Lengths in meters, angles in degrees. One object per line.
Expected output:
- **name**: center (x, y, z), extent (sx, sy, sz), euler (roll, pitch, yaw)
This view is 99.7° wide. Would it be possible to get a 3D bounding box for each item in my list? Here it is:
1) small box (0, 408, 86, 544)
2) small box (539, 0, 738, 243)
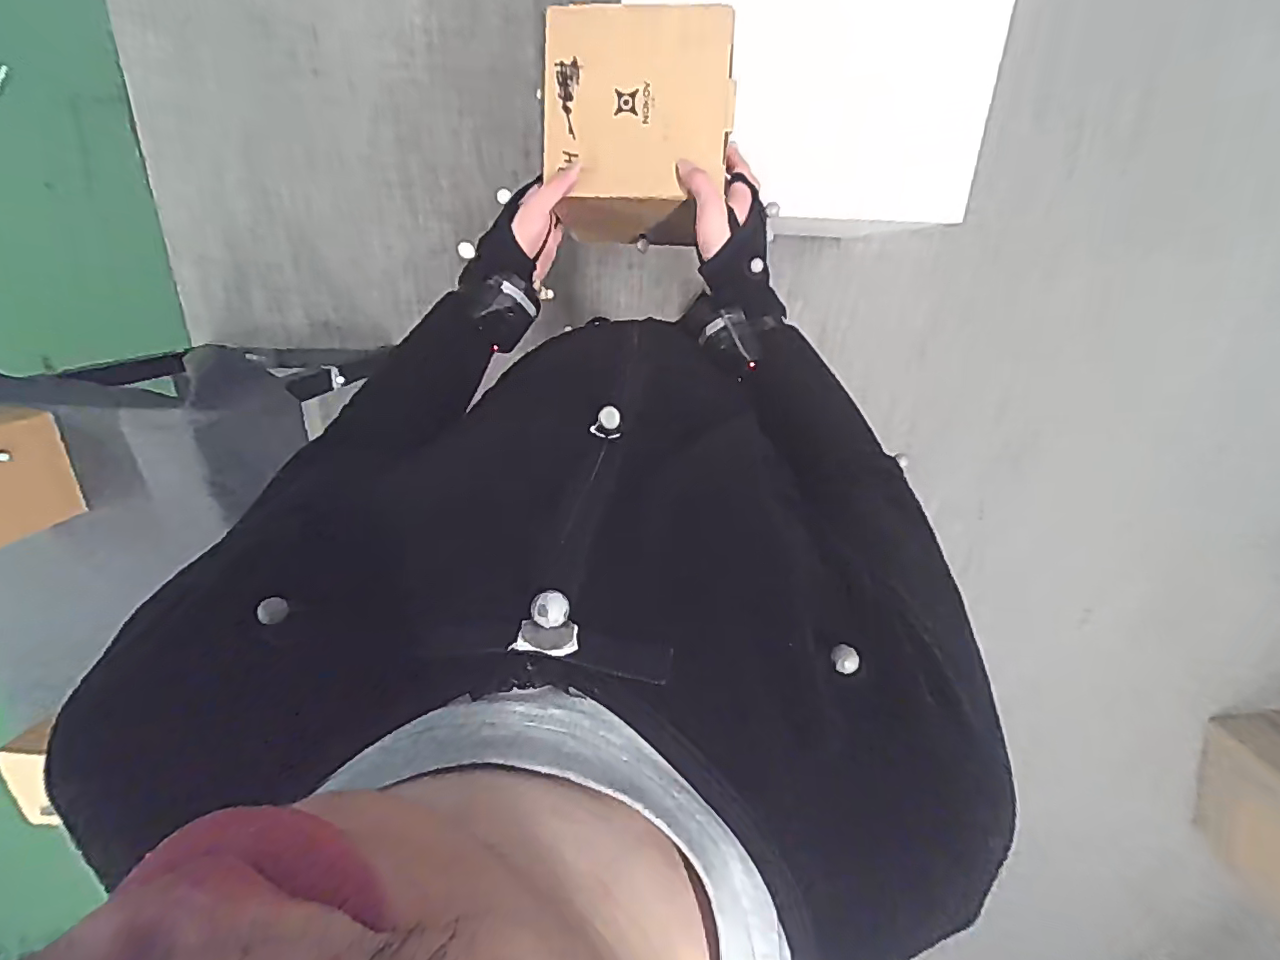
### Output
- **small box**: center (-1.011, -0.010, 0.810), extent (0.168, 0.176, 0.179), euler (5, 114, 4)
- **small box**: center (0.000, -0.361, 0.574), extent (0.179, 0.176, 0.168), euler (4, 99, 3)
